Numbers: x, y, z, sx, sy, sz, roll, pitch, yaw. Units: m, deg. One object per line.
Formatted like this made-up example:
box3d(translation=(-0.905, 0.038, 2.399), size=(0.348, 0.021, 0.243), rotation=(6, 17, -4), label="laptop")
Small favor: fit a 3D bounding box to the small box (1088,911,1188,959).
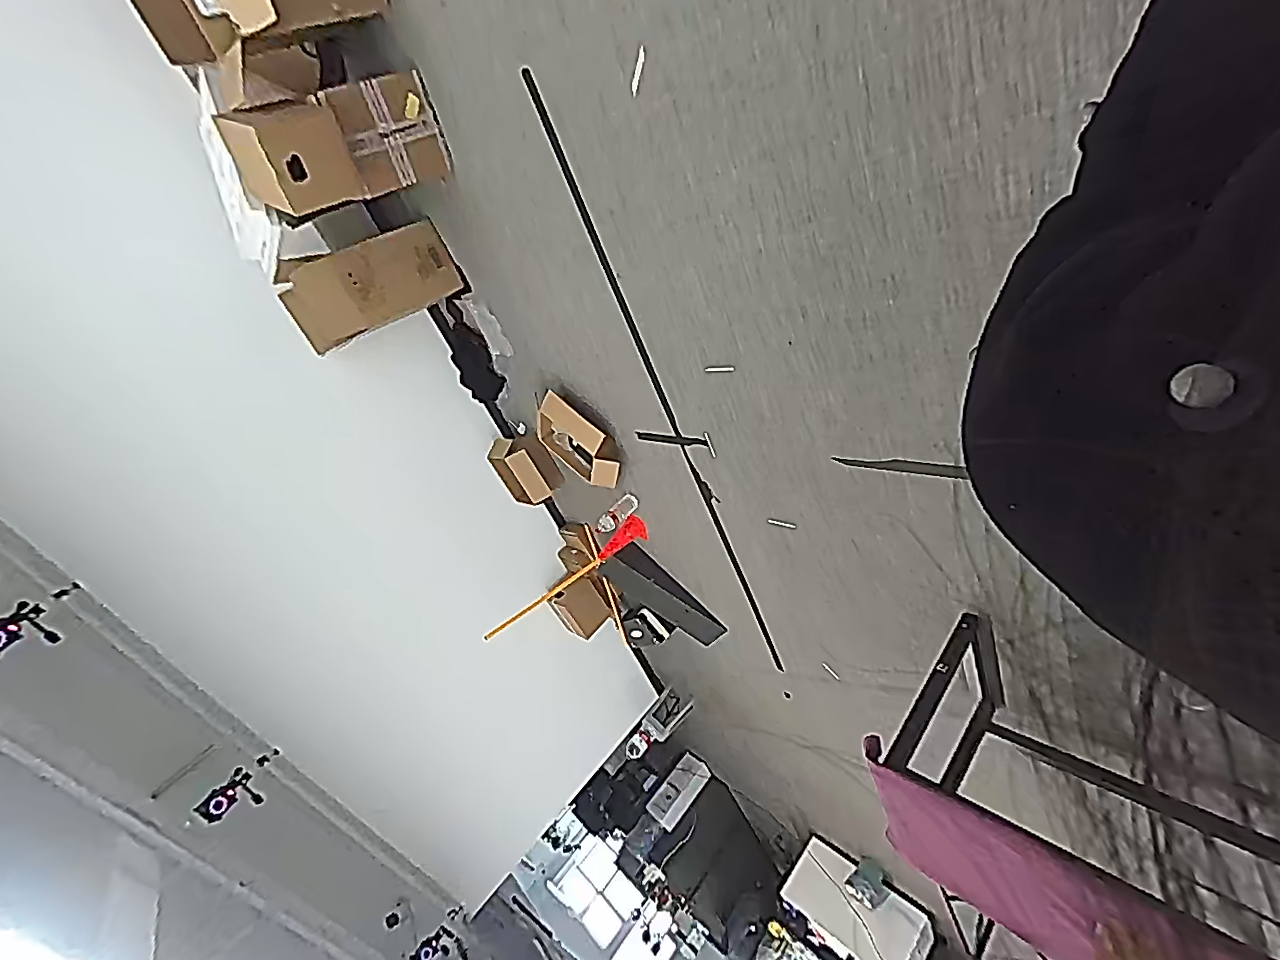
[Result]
box3d(translation=(1.159, 1.169, 1.261), size=(0.168, 0.176, 0.179), rotation=(13, 137, 47), label="small box")
